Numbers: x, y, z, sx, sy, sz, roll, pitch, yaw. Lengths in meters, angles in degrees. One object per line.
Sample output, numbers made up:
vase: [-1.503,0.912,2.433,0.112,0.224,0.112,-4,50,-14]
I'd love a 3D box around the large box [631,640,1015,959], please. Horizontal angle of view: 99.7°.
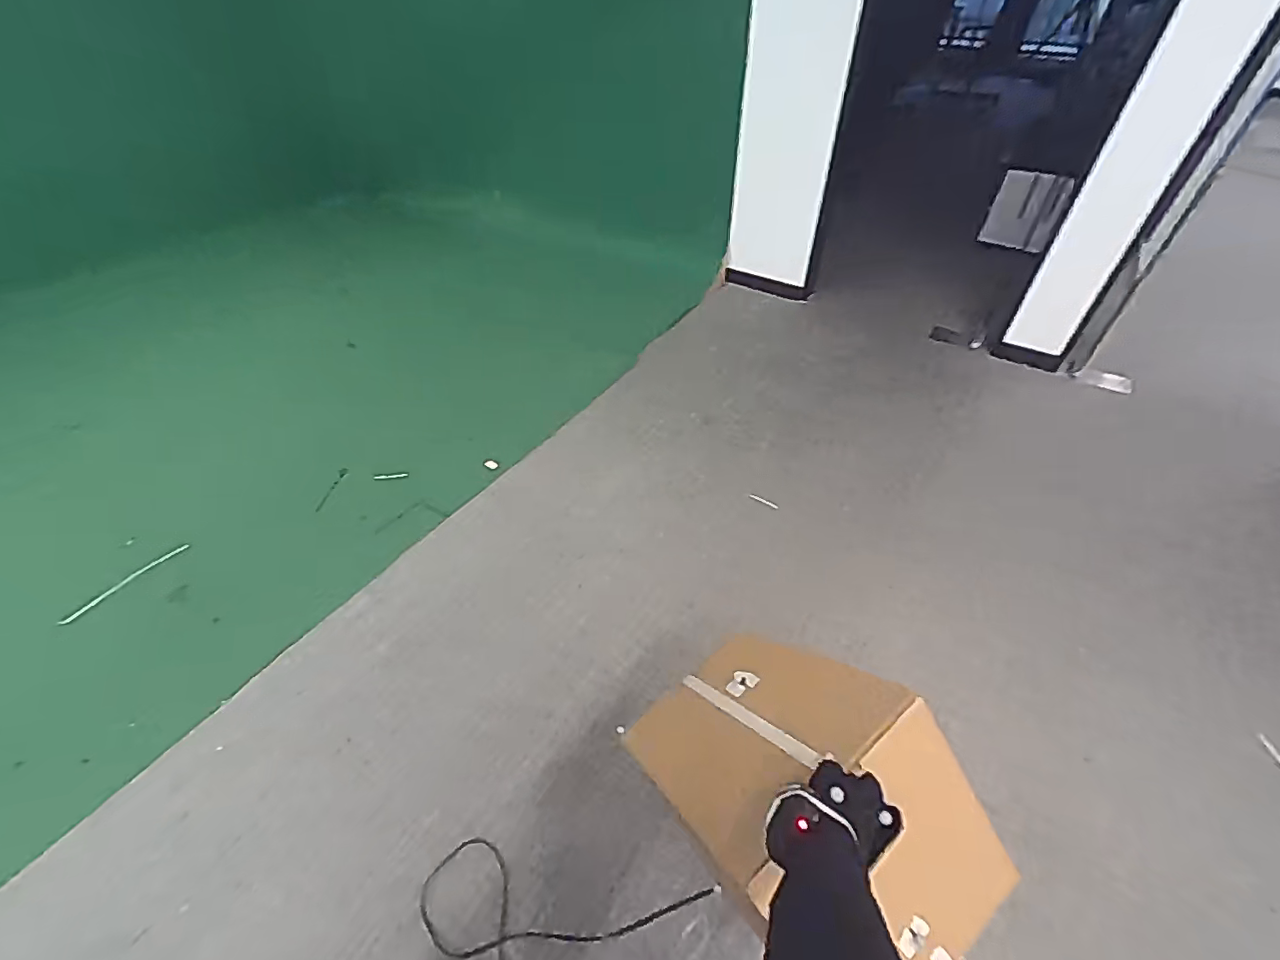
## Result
large box: [0.248,0.502,0.839,0.320,0.408,0.320,-33,97,-19]
